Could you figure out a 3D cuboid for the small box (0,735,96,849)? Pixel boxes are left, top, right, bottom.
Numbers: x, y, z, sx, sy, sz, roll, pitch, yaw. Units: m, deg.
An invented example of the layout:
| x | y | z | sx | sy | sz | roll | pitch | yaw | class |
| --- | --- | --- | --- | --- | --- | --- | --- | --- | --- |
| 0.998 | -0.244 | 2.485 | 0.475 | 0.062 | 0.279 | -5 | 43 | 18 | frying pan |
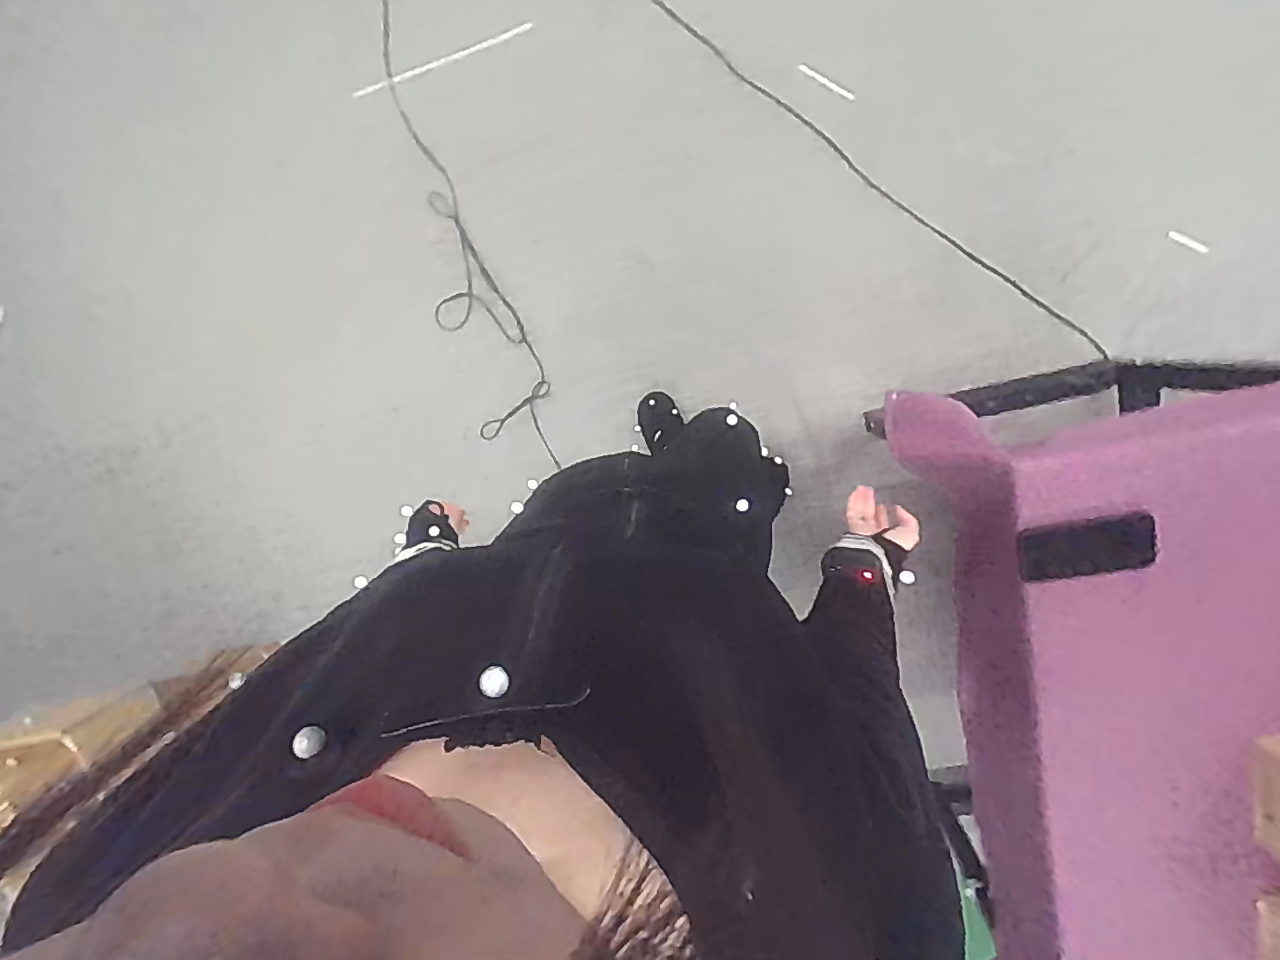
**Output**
| x | y | z | sx | sy | sz | roll | pitch | yaw | class |
| --- | --- | --- | --- | --- | --- | --- | --- | --- | --- |
| -1.427 | 0.714 | 1.252 | 0.179 | 0.176 | 0.168 | -6 | 102 | 7 | small box |
